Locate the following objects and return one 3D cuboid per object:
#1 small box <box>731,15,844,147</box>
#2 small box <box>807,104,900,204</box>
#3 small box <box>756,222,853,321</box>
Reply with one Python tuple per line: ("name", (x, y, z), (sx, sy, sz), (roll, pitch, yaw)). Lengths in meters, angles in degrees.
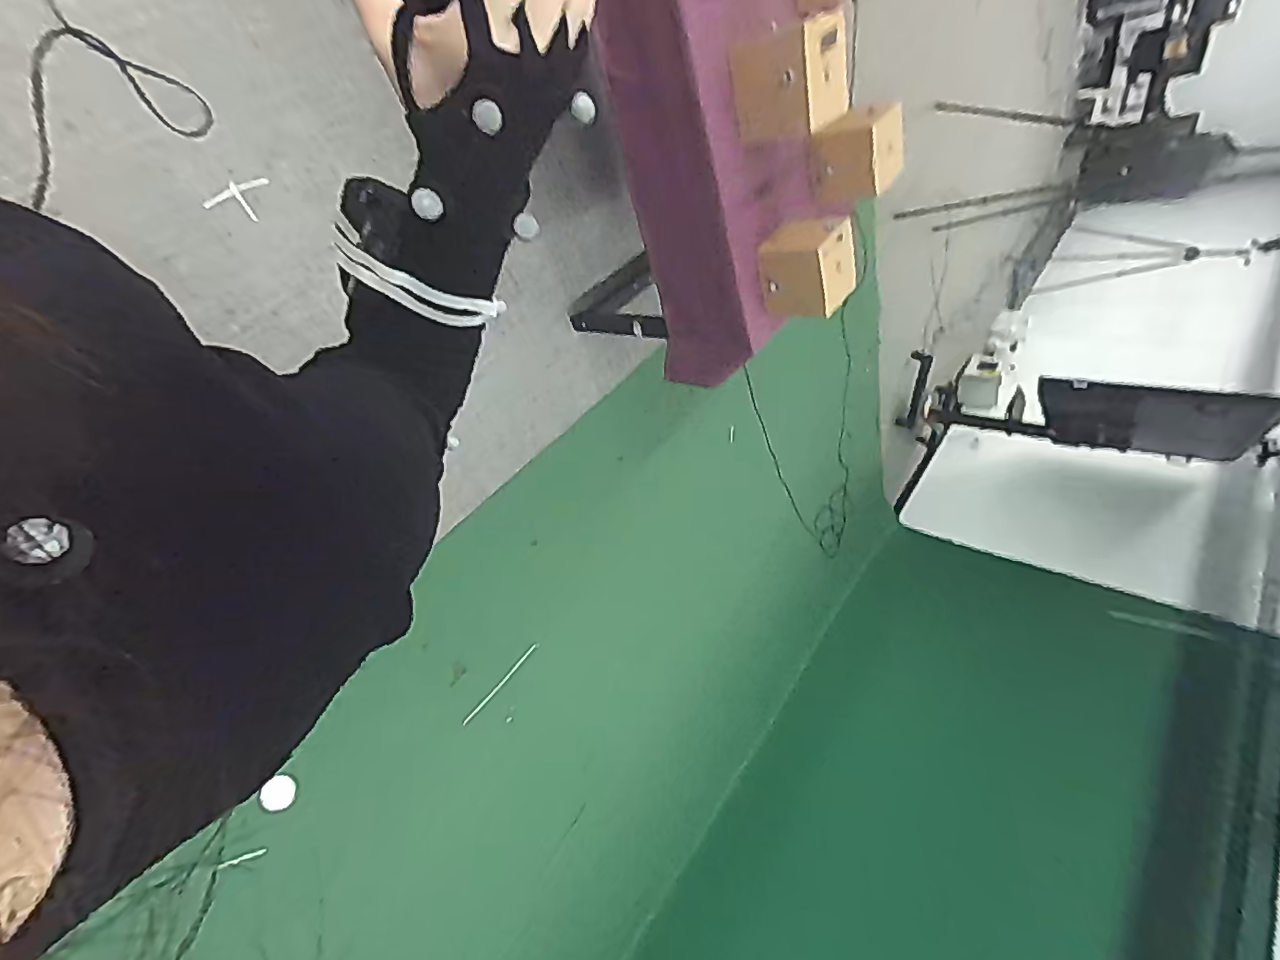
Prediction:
("small box", (0.305, -0.821, 1.123), (0.168, 0.176, 0.179), (-43, 133, -29))
("small box", (0.551, -0.834, 1.392), (0.179, 0.176, 0.168), (-48, 134, -25))
("small box", (0.411, -0.521, 1.350), (0.168, 0.176, 0.179), (-47, 134, -27))
